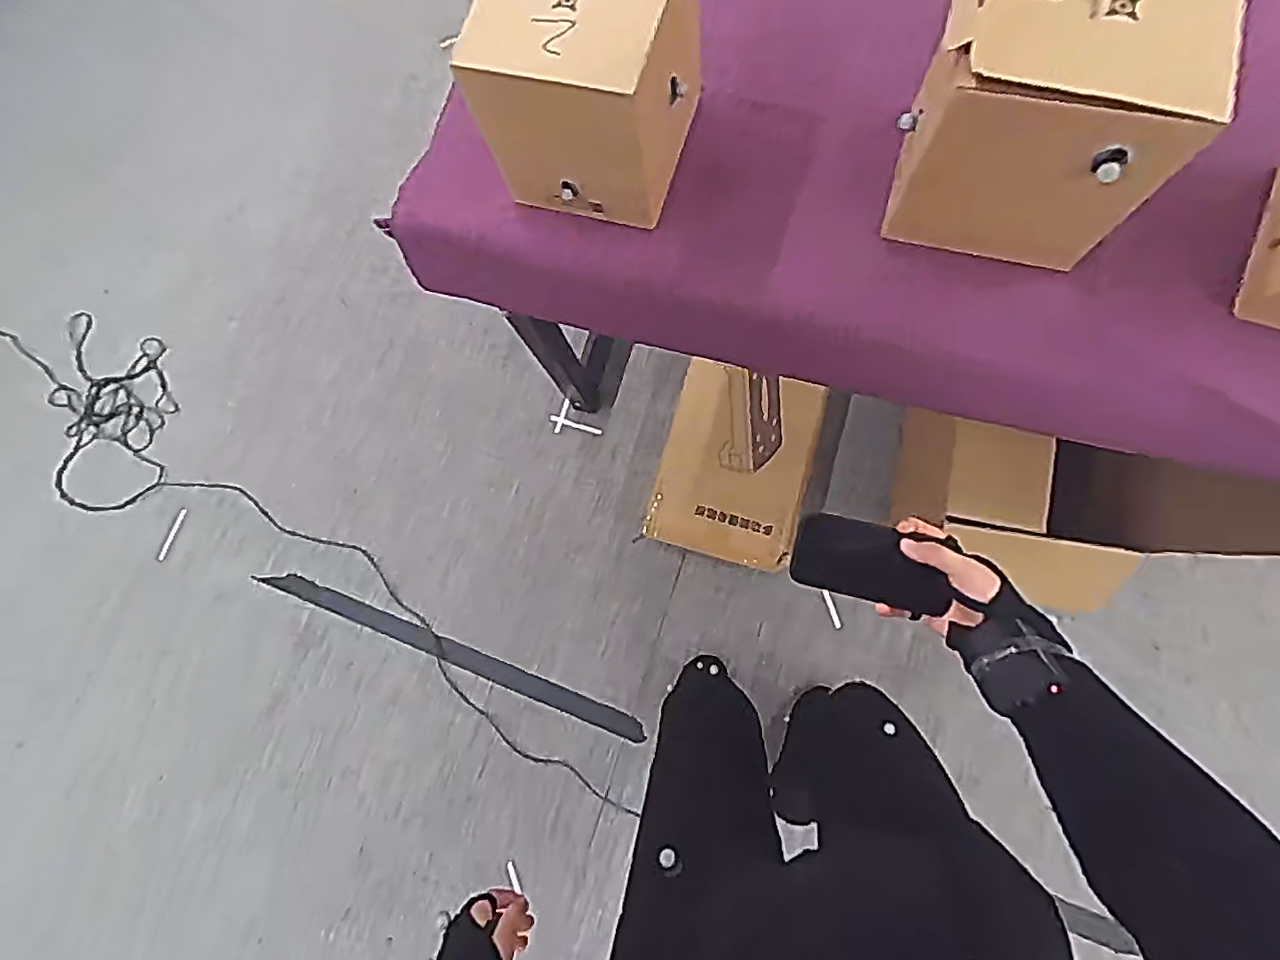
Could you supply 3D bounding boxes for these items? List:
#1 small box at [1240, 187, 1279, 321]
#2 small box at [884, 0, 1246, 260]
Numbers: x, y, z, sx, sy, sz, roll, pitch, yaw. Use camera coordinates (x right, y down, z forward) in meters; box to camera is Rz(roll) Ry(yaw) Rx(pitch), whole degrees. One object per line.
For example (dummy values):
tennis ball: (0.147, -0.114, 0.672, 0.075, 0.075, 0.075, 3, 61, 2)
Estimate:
small box: (0.631, -0.208, 0.403, 0.179, 0.176, 0.168, 23, 83, 10)
small box: (0.337, -0.316, 0.459, 0.179, 0.176, 0.168, 16, 79, 10)
